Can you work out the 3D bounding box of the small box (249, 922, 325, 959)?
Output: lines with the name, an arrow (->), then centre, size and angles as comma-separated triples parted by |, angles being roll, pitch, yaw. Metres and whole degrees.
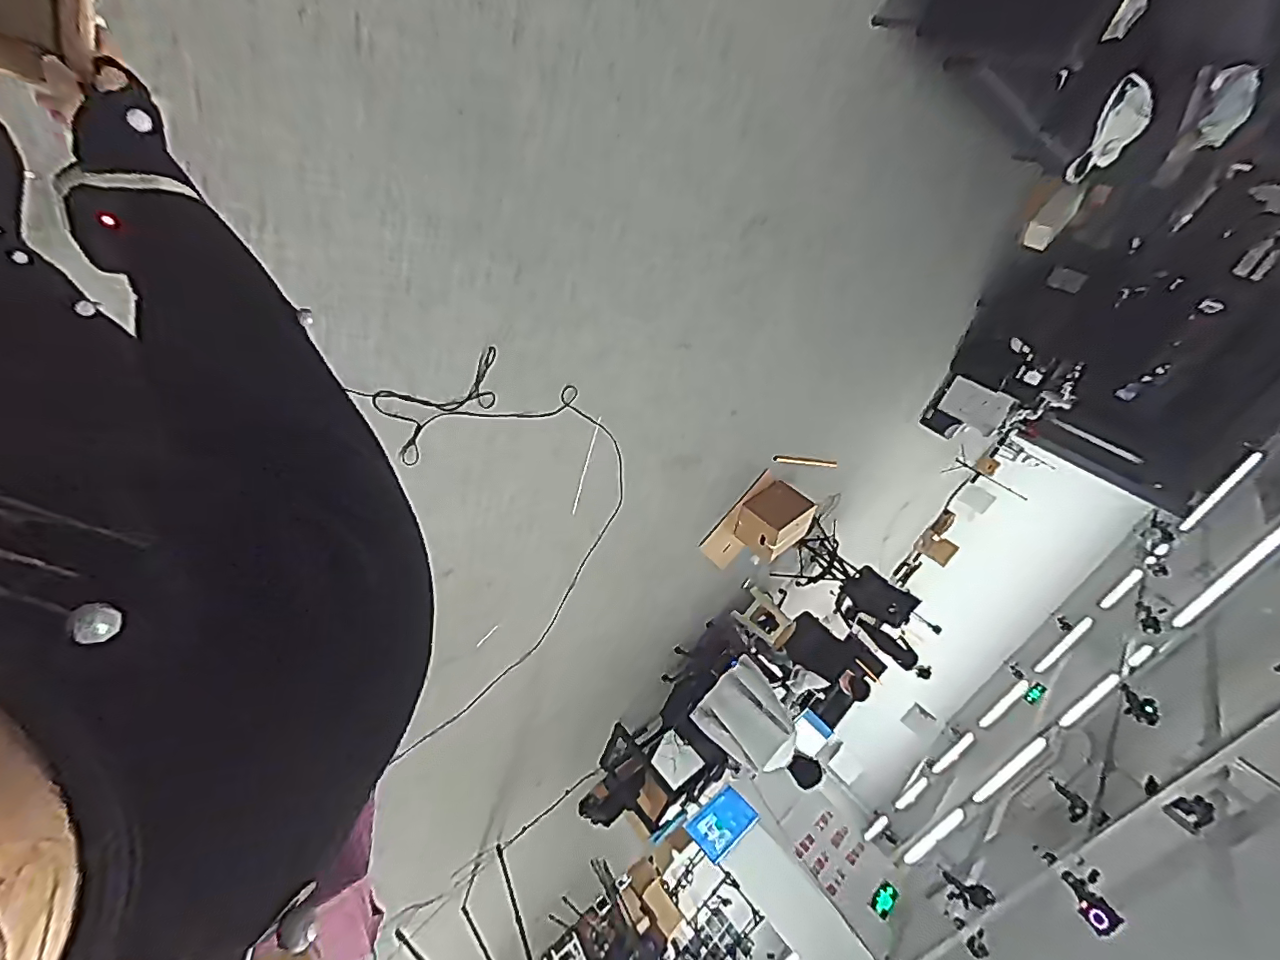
small box -> -0.841, 1.204, 1.274 | 0.179, 0.176, 0.168 | -16, 136, -41
